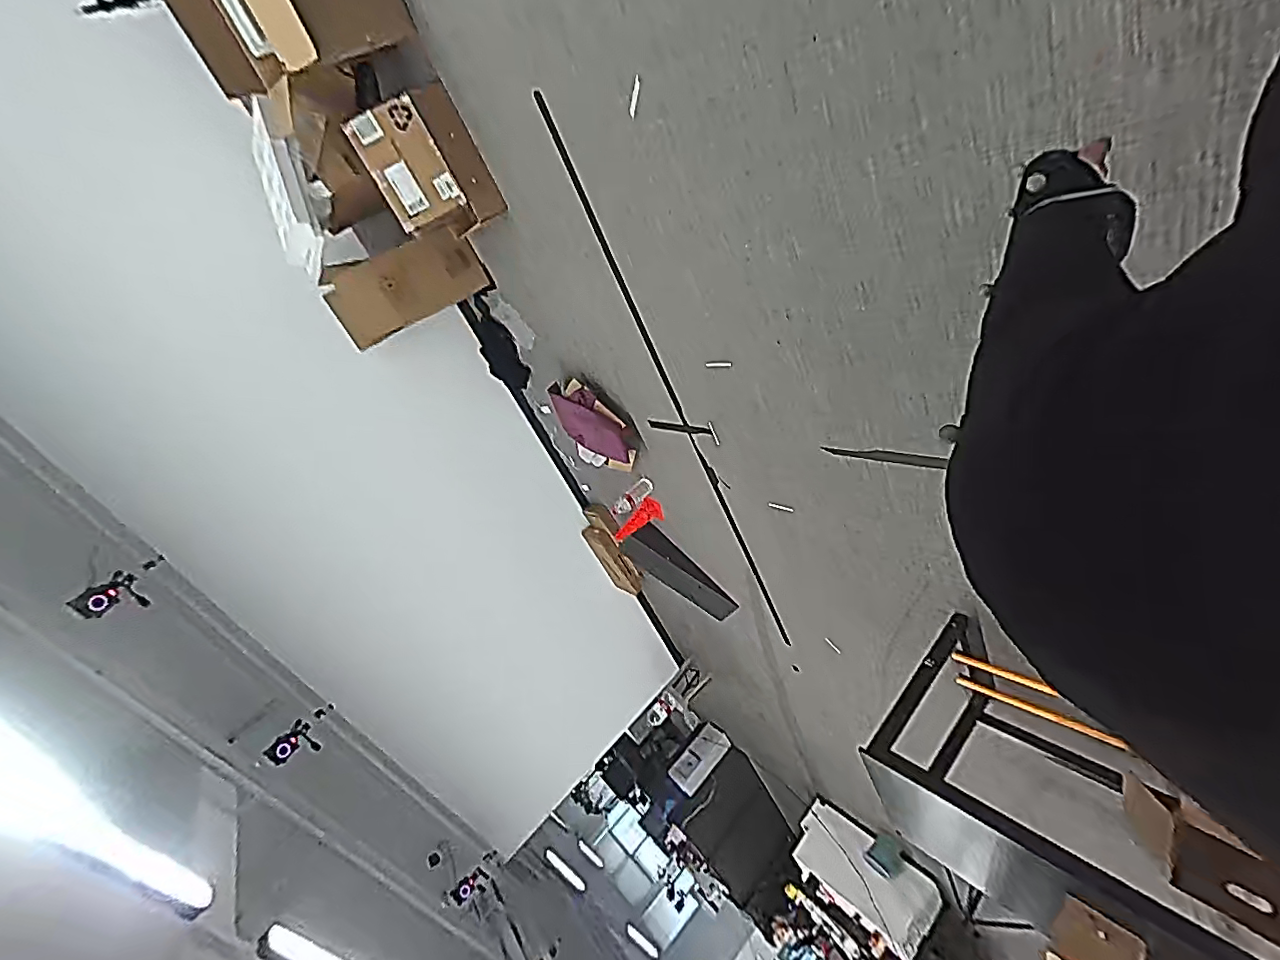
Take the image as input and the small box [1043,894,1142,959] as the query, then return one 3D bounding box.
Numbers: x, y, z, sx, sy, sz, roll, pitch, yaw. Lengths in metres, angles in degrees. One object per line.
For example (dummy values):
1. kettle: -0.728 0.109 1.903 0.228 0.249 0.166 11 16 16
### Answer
1. small box: 1.222 1.281 1.458 0.168 0.176 0.179 15 139 52
